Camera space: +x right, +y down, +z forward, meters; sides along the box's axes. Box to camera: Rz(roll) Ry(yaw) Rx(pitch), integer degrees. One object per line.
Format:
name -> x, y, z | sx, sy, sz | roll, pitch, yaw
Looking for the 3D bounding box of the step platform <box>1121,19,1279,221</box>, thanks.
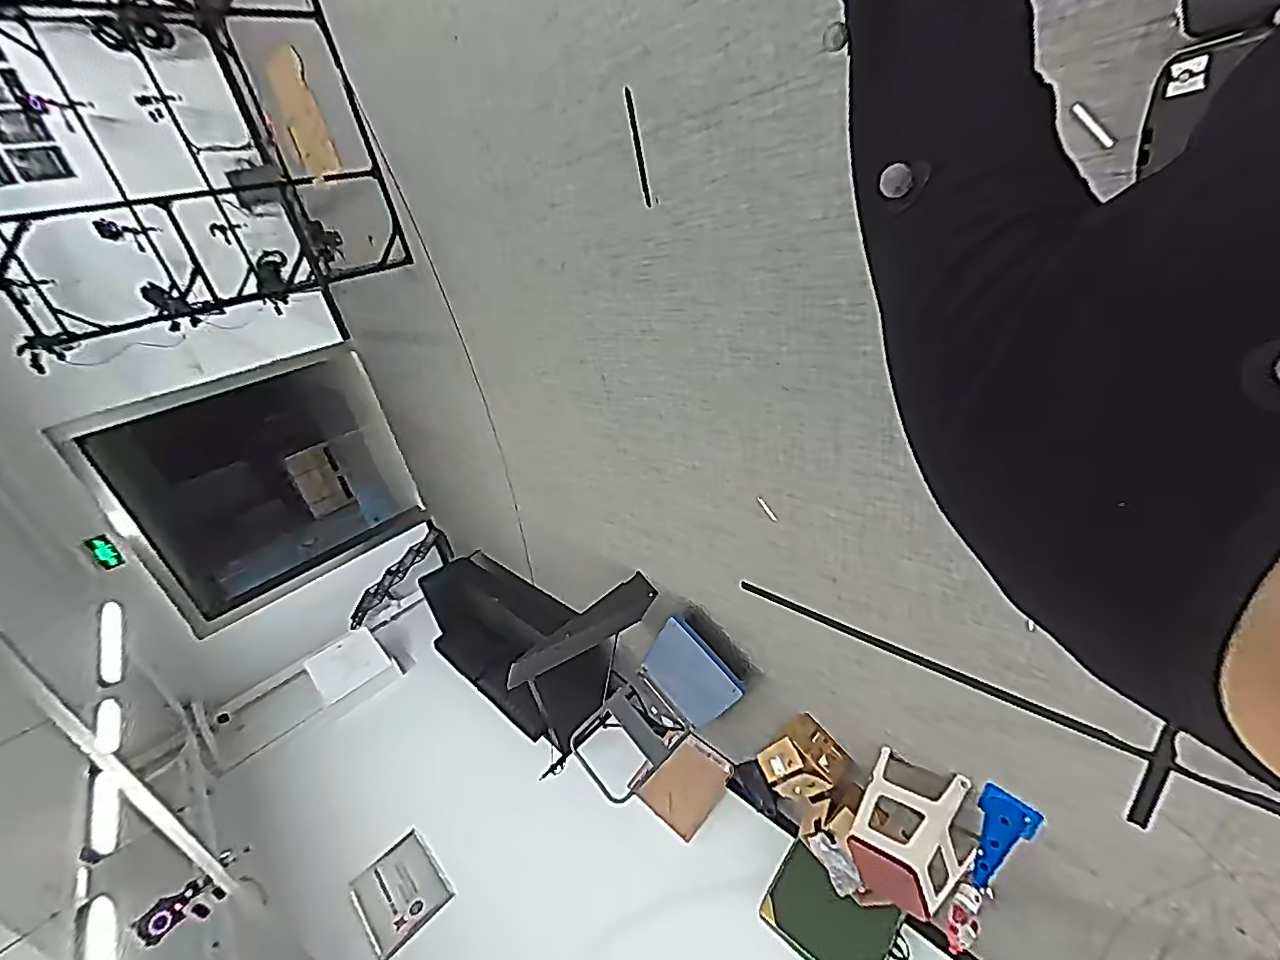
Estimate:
step platform -> 1.202, -0.609, 0.836 | 0.684, 0.204, 0.286 | 15, 128, 47
